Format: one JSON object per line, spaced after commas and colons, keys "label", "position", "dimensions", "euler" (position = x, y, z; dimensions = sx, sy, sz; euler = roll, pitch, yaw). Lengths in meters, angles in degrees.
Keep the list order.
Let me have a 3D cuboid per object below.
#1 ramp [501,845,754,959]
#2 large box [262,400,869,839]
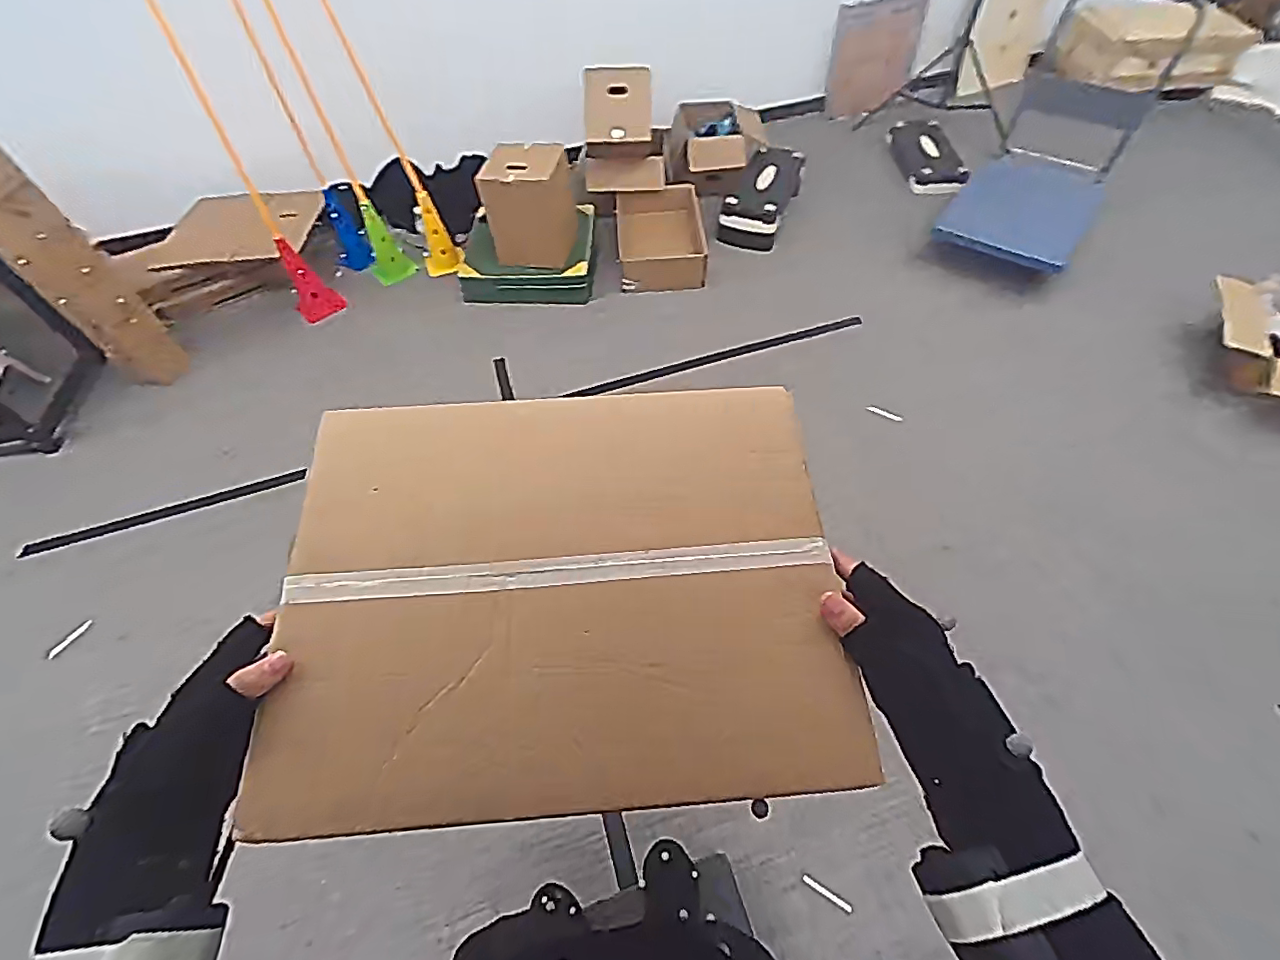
{"label": "ramp", "position": [0.096, 1.308, 0.982], "dimensions": [0.509, 0.206, 0.991], "euler": [-17, 57, -12]}
{"label": "large box", "position": [-0.055, 0.140, 0.548], "dimensions": [0.408, 0.320, 0.320], "euler": [-3, 63, -3]}
